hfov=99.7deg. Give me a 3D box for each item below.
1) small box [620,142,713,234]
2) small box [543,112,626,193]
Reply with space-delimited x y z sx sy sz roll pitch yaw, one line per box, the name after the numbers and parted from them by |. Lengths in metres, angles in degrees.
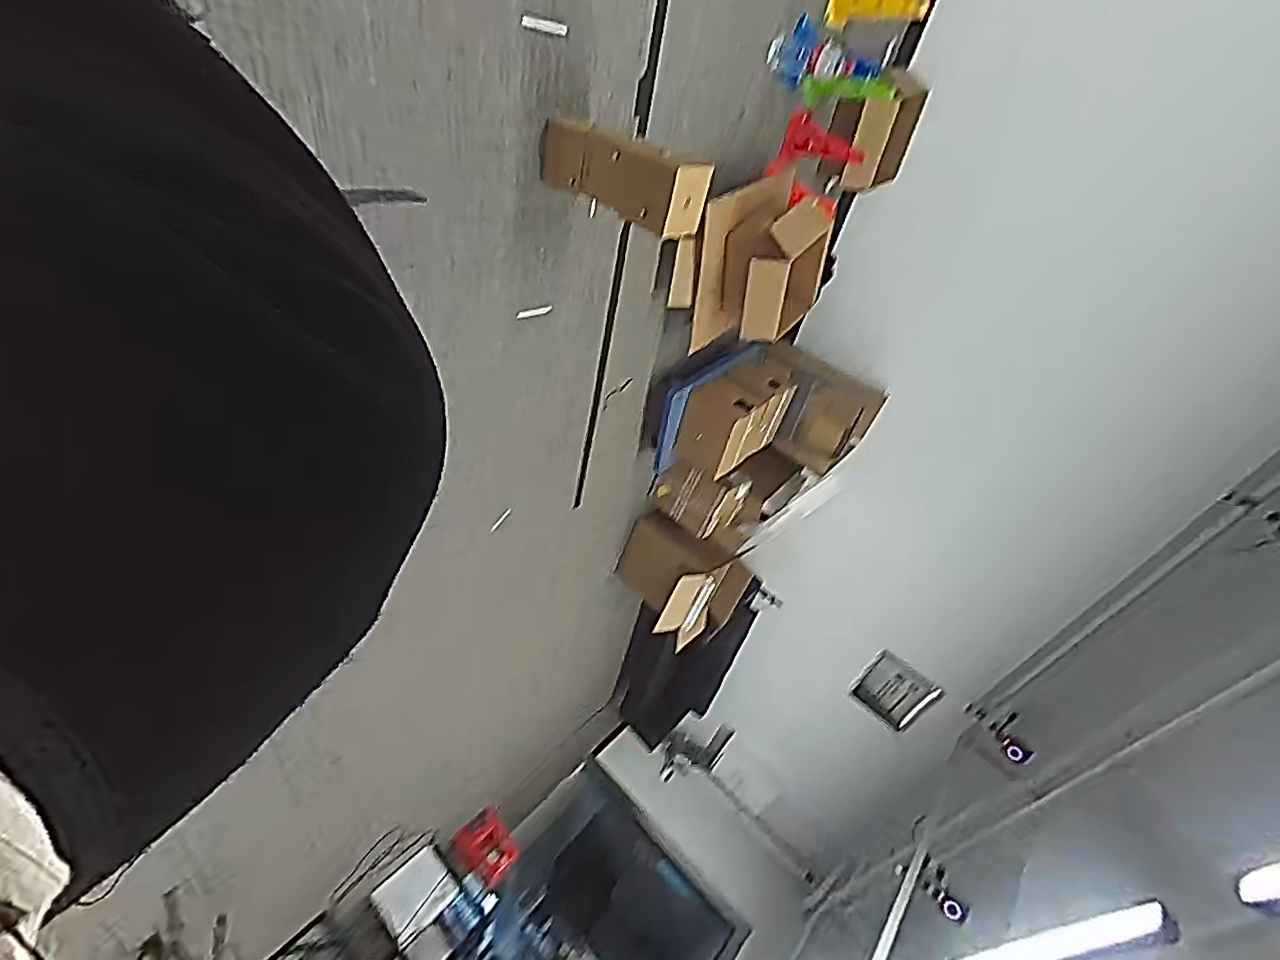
0.066 -0.800 1.480 0.168 0.176 0.179 -33 149 -41 | small box
-0.171 -0.979 1.617 0.168 0.176 0.179 -30 147 -41 | small box
